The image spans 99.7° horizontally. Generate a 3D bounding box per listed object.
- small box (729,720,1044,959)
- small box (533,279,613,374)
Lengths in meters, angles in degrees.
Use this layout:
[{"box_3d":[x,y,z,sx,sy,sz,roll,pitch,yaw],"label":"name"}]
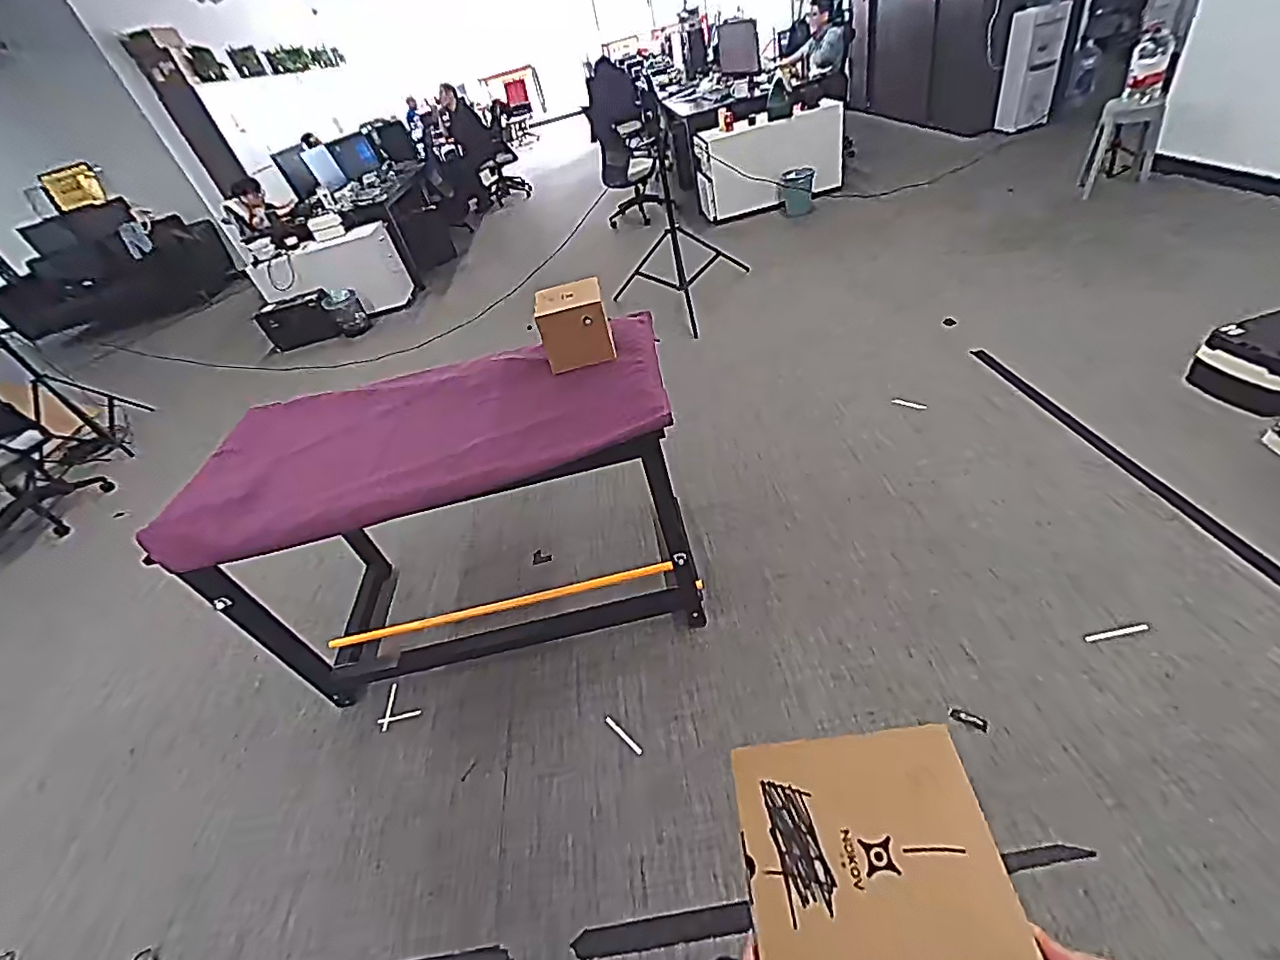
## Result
[{"box_3d":[0.182,0.319,0.441,0.179,0.176,0.168,-12,45,9],"label":"small box"},{"box_3d":[-0.175,-0.410,1.453,0.179,0.176,0.168,-14,40,3],"label":"small box"}]
